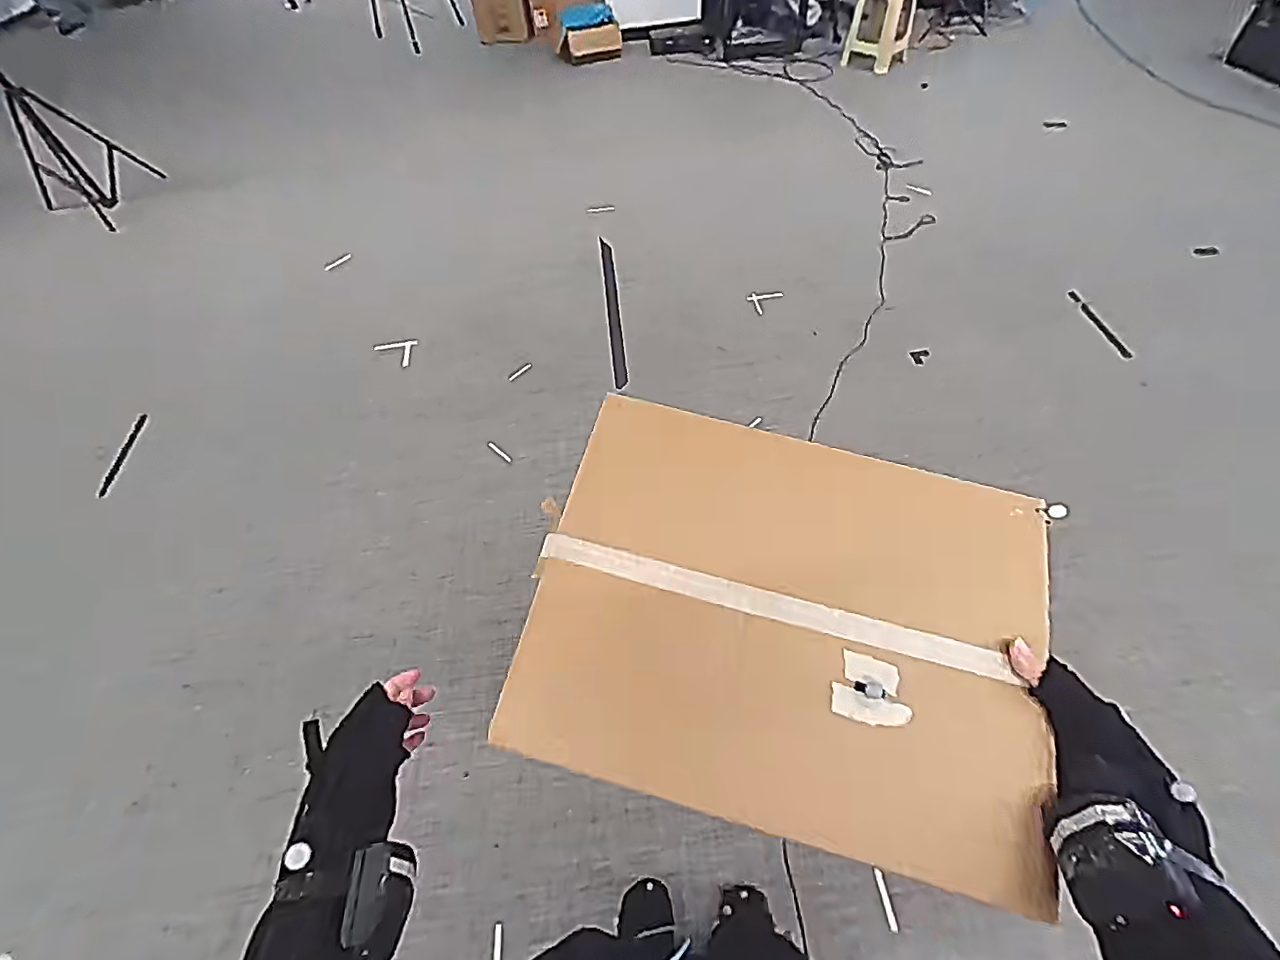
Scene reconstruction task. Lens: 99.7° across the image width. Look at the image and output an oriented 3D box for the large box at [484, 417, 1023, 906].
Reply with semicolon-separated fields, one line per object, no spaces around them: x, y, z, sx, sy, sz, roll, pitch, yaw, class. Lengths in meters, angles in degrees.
0.103;0.175;0.581;0.408;0.320;0.320;14;69;4;large box
